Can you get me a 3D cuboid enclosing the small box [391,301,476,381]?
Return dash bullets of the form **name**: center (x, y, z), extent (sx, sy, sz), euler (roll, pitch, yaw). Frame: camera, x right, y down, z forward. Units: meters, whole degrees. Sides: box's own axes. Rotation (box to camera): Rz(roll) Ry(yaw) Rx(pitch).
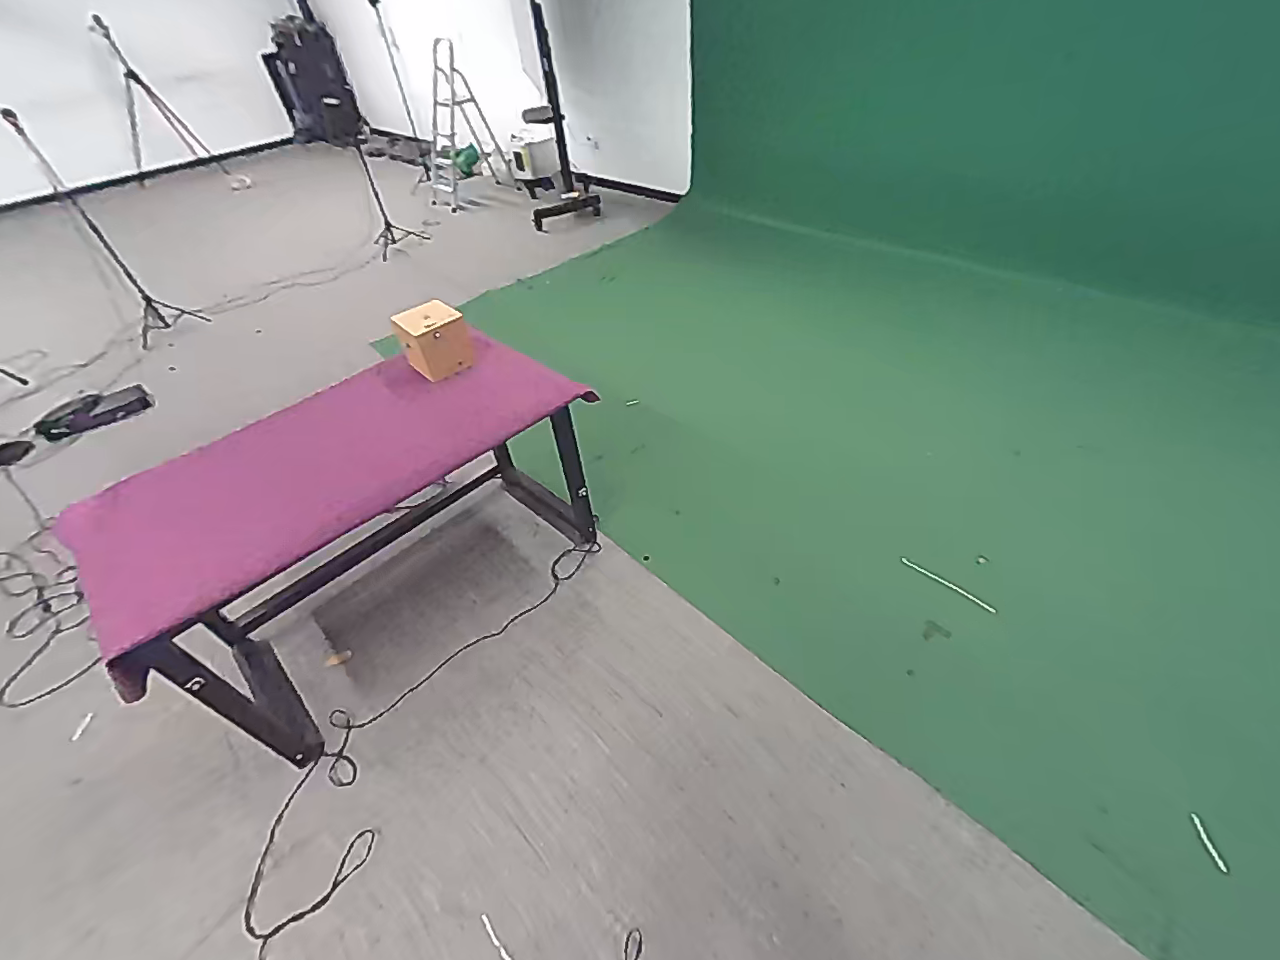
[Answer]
- **small box**: center (-0.651, -0.440, 1.718), extent (0.168, 0.176, 0.179), euler (-36, 51, -26)
